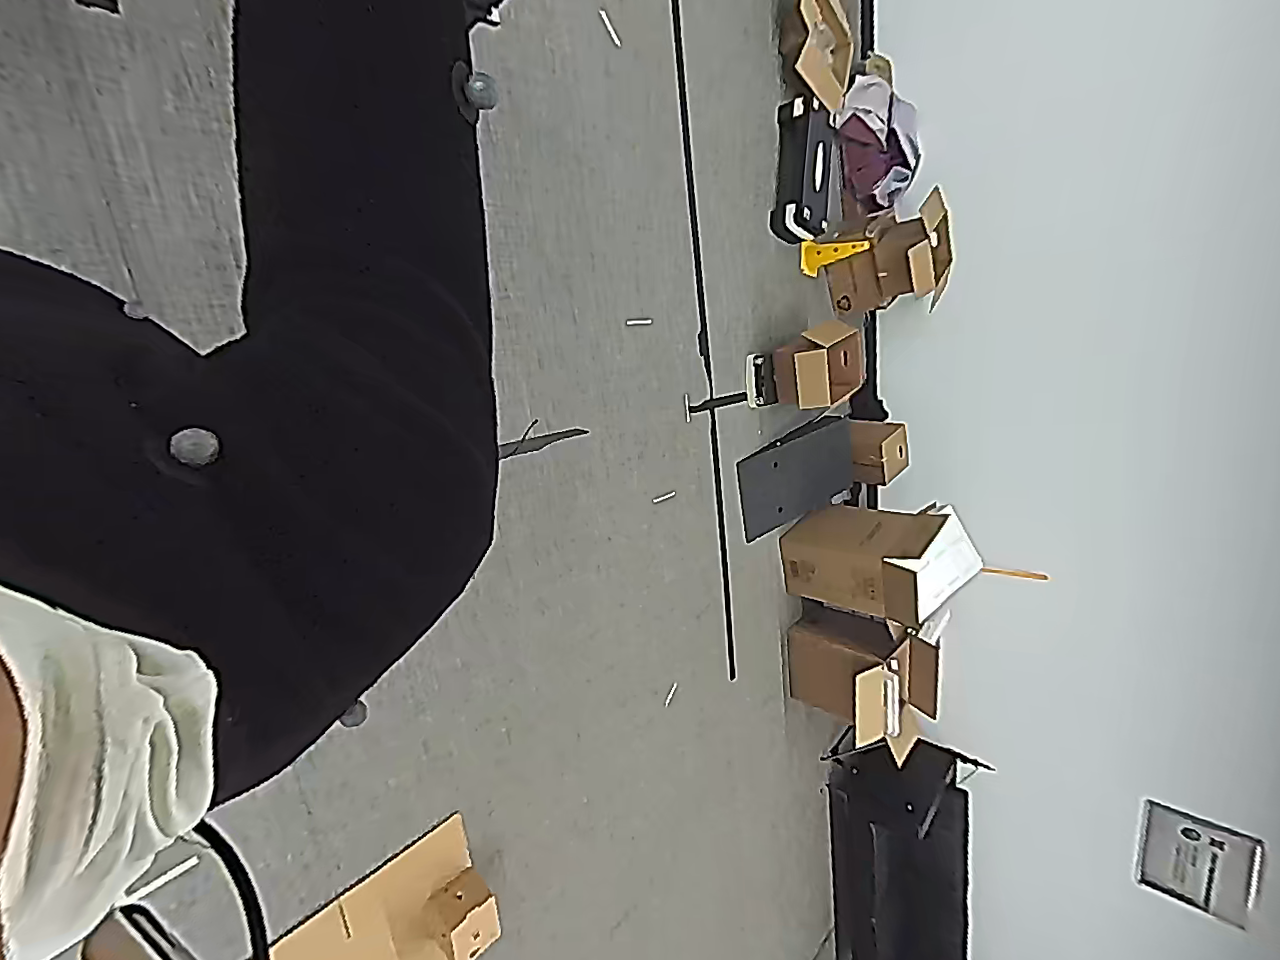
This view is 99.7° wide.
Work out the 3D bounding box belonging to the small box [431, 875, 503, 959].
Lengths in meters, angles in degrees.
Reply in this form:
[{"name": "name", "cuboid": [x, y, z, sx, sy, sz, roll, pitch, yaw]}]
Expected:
[{"name": "small box", "cuboid": [-0.593, 1.503, 1.847, 0.168, 0.176, 0.179, -17, 106, -44]}]
